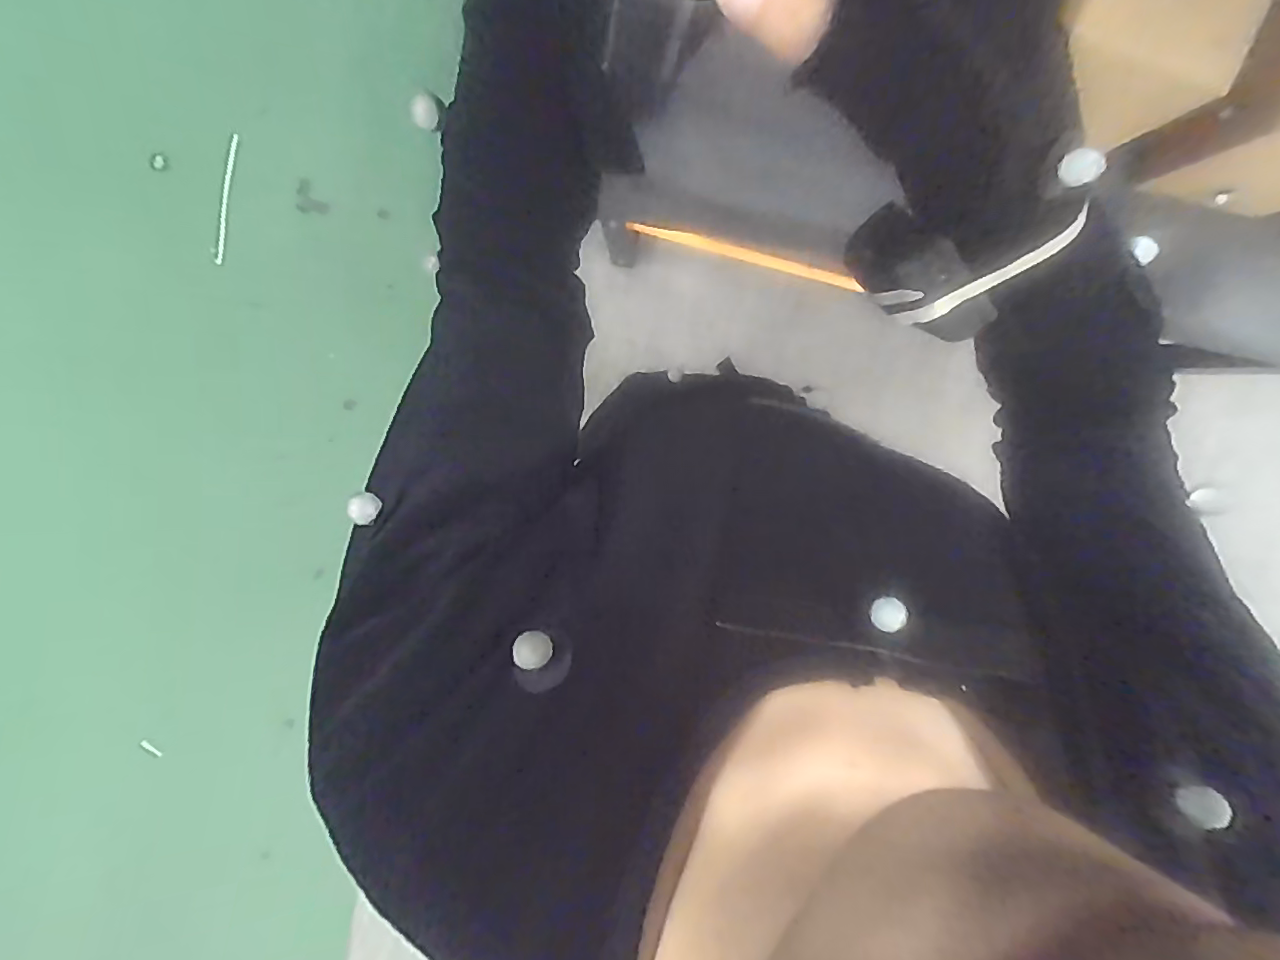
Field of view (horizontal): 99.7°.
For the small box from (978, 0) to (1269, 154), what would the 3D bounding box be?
[{"bbox_3d":[0.503,-0.485,0.573,0.168,0.176,0.179,17,100,-3],"label":"small box"}]
